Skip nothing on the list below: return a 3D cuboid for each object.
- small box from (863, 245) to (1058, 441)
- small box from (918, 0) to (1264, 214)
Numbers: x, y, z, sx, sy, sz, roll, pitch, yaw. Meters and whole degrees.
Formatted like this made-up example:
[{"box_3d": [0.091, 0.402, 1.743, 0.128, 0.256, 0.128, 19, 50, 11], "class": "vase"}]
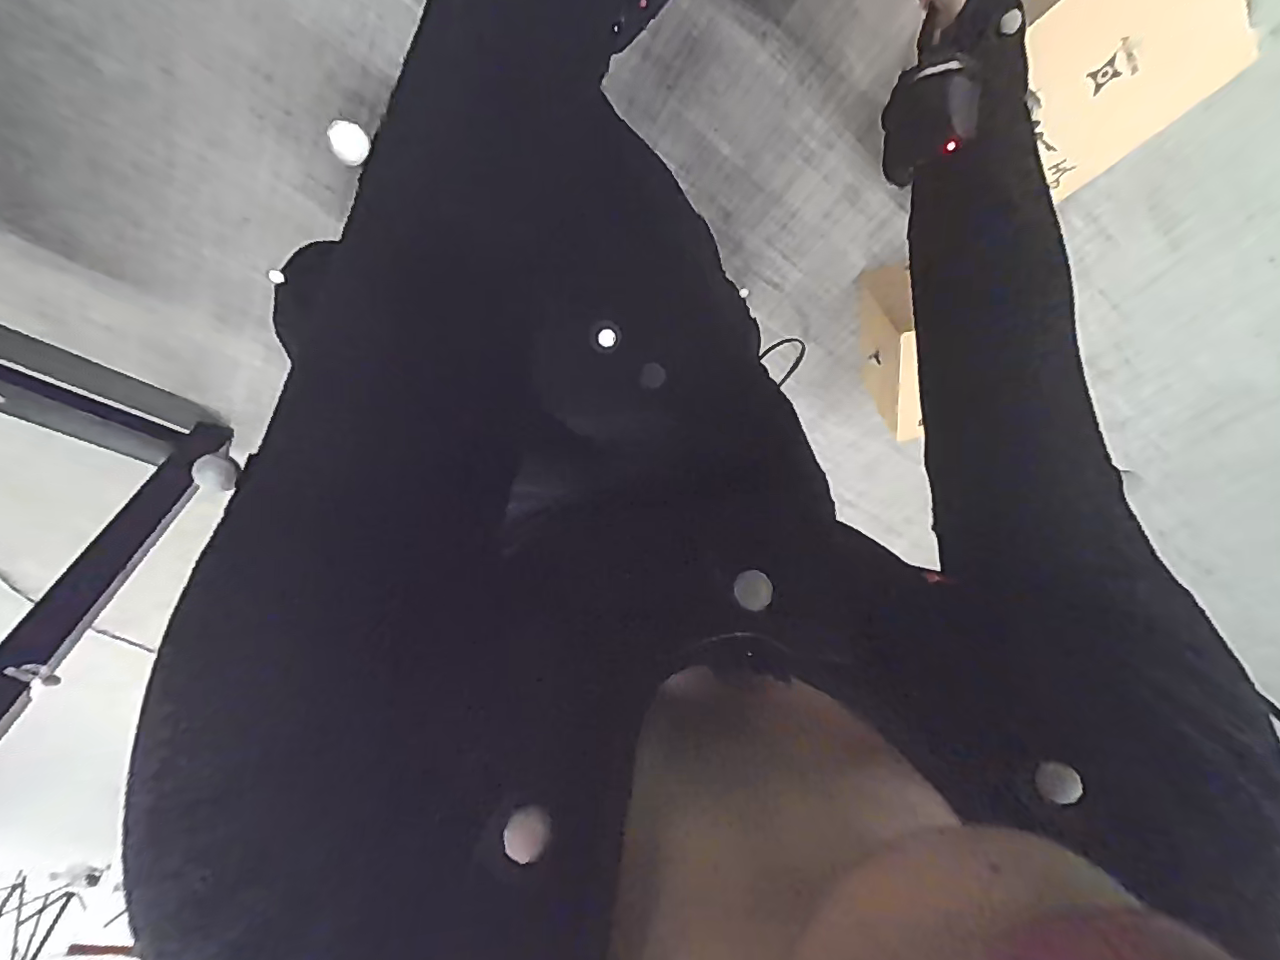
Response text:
[{"box_3d": [0.409, -0.183, 0.727, 0.168, 0.176, 0.179, -12, 133, 11], "class": "small box"}, {"box_3d": [0.405, -0.403, 0.510, 0.168, 0.176, 0.179, 35, 125, -30], "class": "small box"}]
